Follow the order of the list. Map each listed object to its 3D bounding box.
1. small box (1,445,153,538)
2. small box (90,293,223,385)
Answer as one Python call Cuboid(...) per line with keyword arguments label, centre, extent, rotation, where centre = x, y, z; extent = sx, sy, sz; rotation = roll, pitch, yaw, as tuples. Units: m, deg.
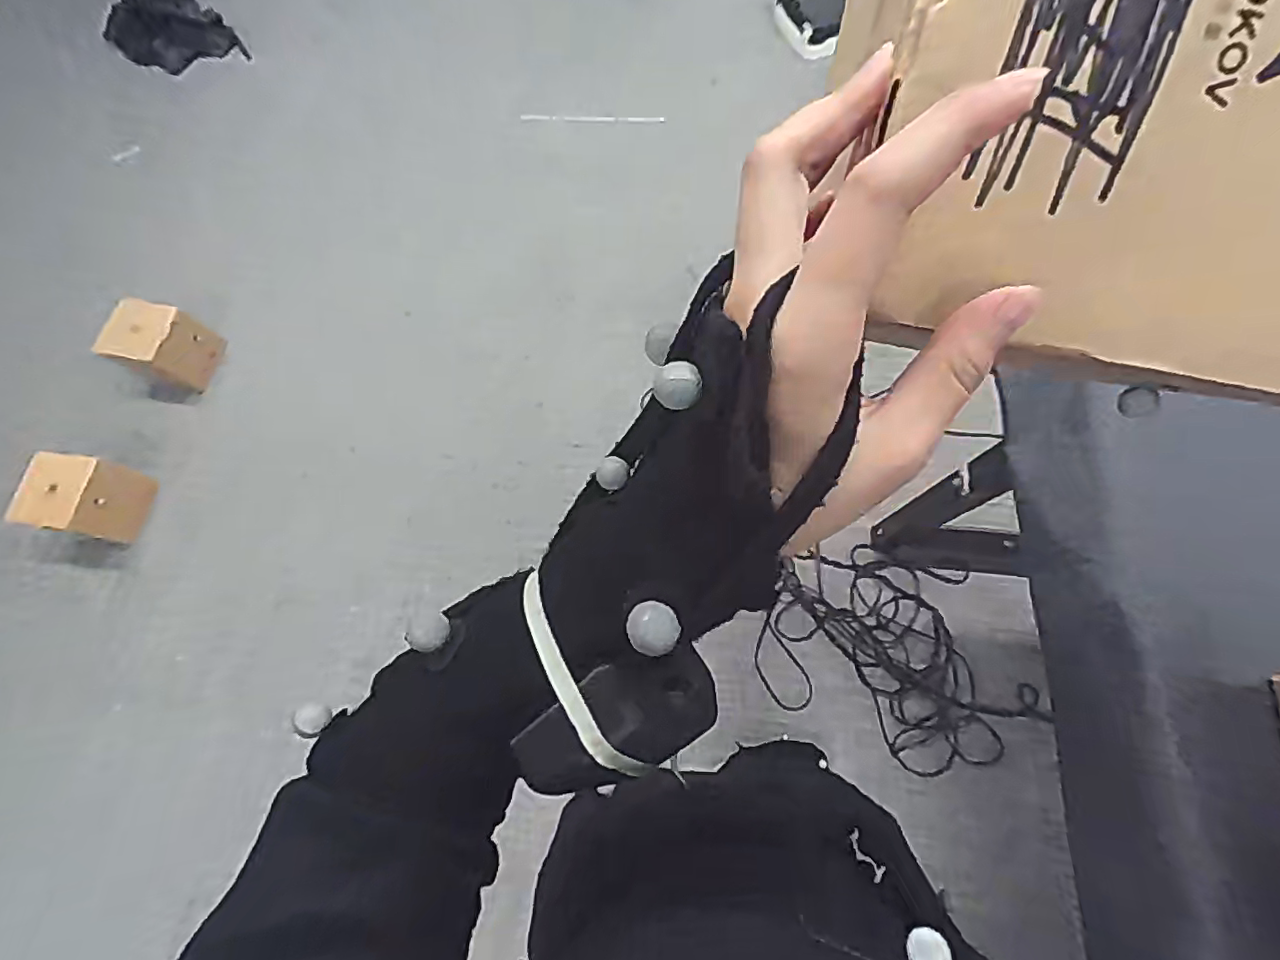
Cuboid(label="small box", centre=(-1.360, 0.032, 1.324), extent=(0.168, 0.176, 0.179), rotation=(6, 73, 5))
Cuboid(label="small box", centre=(-1.284, -0.372, 1.453), extent=(0.179, 0.176, 0.168), rotation=(10, 71, 7))
